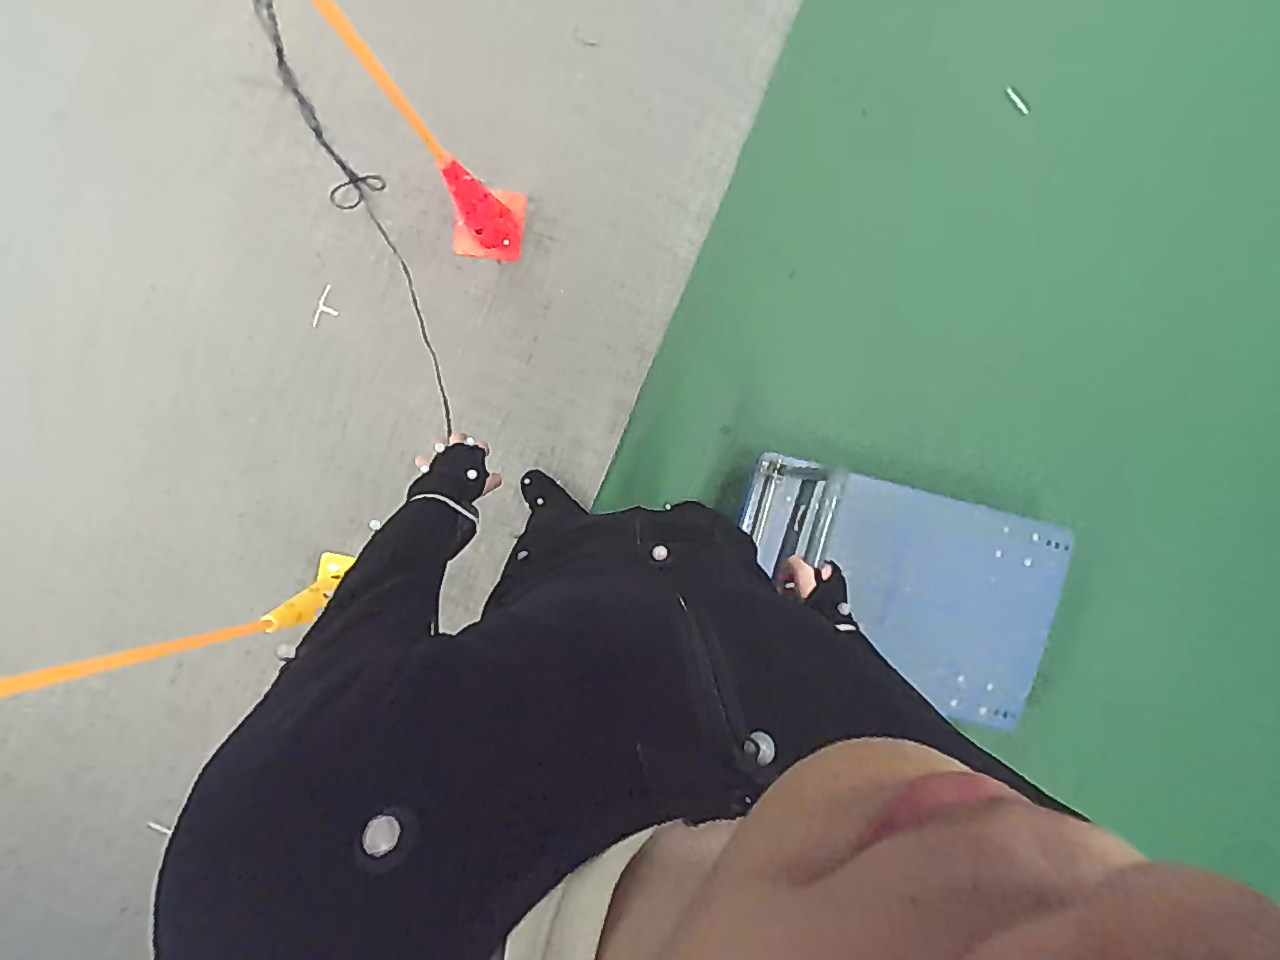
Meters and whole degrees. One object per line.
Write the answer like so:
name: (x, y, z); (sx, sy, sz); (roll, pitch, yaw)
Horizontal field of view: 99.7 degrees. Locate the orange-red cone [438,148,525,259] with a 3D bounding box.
orange-red cone: (-0.446, -0.752, 1.412); (0.198, 0.360, 0.199); (8, 92, 0)
